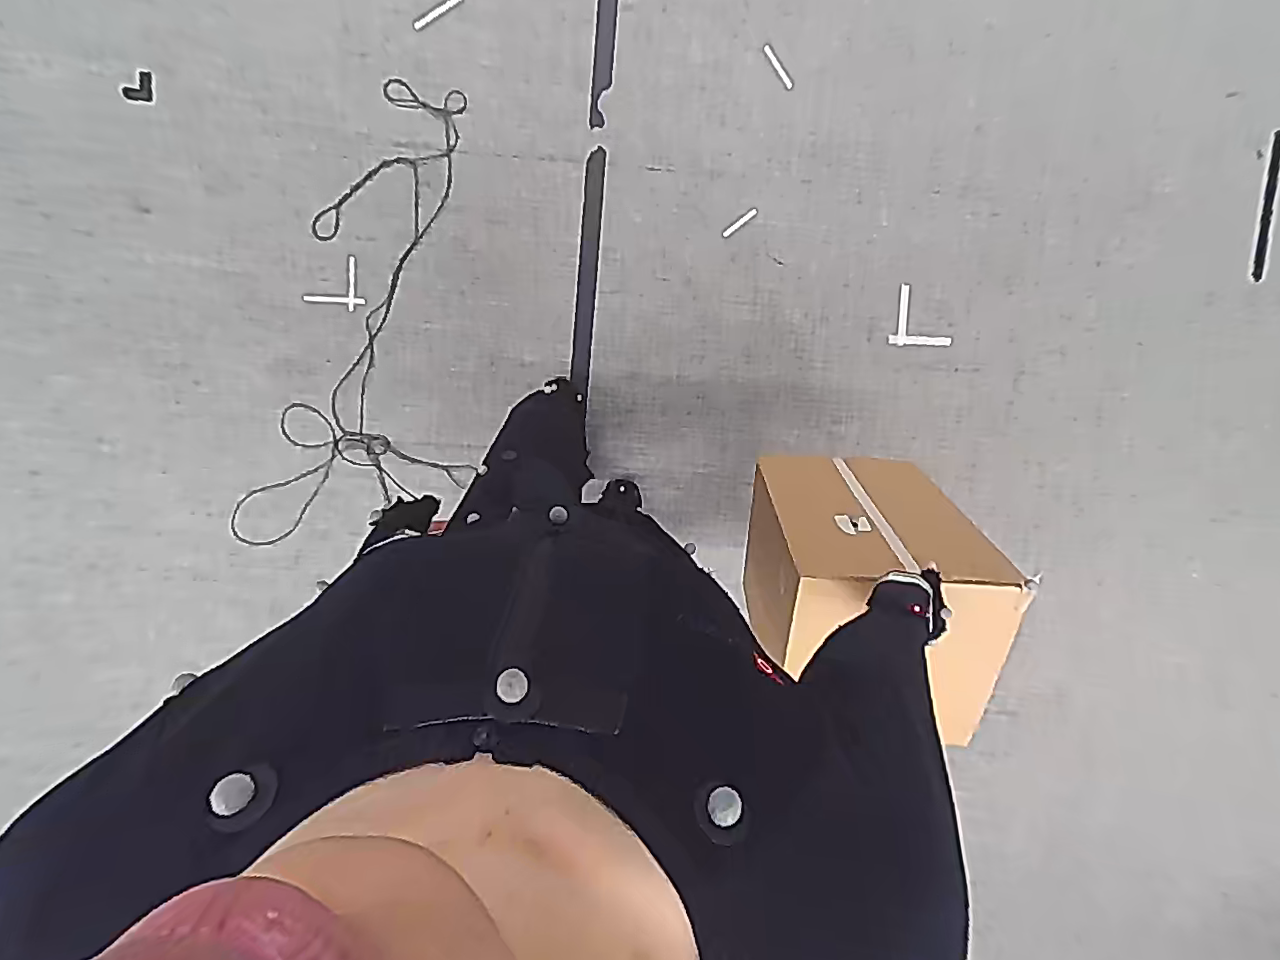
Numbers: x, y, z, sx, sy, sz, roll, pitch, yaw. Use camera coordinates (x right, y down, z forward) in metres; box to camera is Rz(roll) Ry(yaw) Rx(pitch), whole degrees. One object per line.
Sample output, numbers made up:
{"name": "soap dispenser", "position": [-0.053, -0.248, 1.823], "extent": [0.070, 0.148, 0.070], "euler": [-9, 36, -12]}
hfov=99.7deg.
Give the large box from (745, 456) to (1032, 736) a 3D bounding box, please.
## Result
{"name": "large box", "position": [0.386, 0.184, 0.982], "extent": [0.320, 0.408, 0.320], "euler": [2, 117, 2]}
